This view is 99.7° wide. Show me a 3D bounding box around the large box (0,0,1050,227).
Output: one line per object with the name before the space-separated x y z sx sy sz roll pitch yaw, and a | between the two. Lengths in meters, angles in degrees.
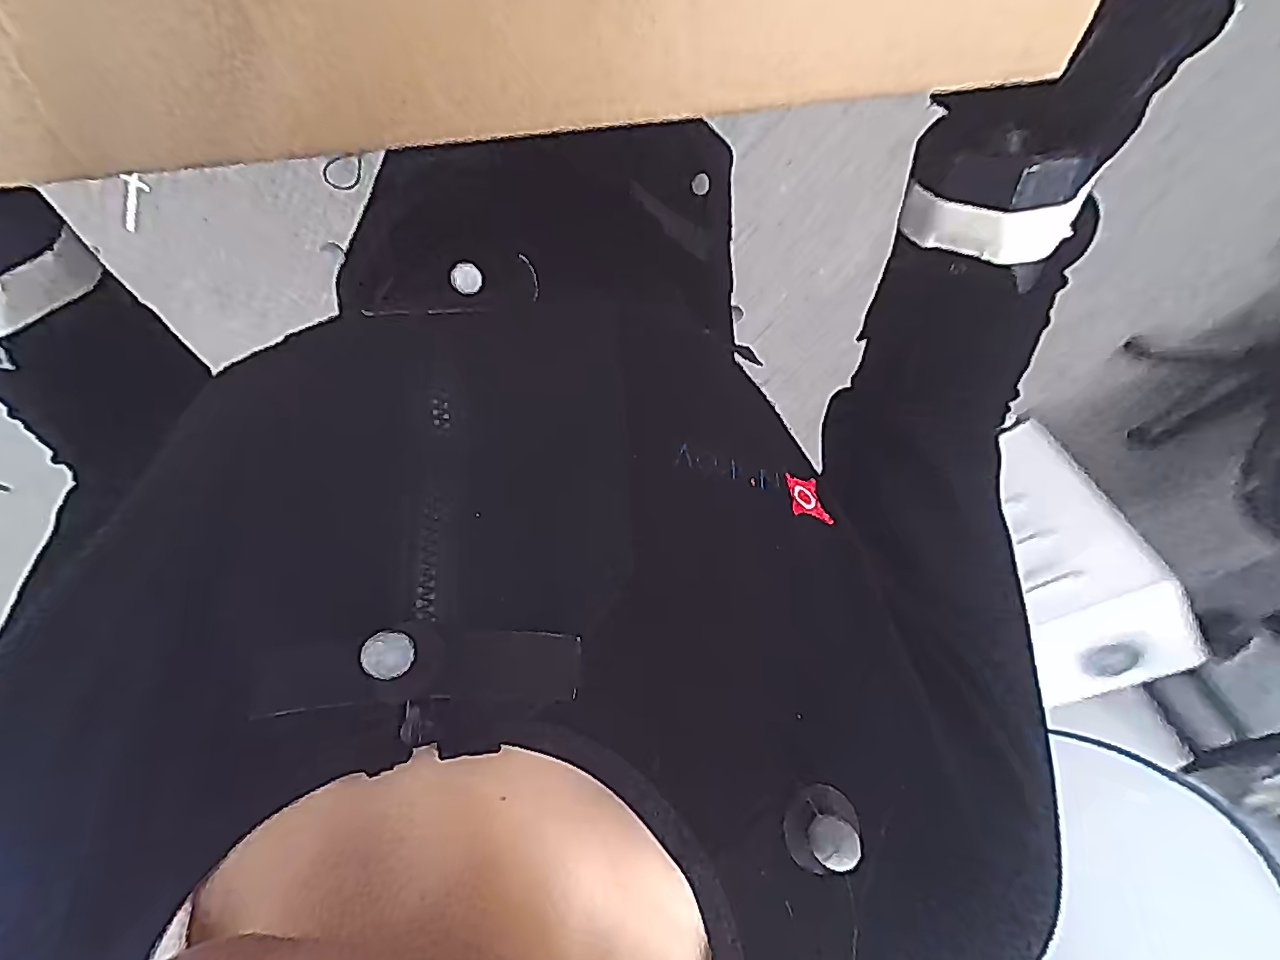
large box | -0.090 -0.324 0.157 0.408 0.320 0.320 -4 144 5
